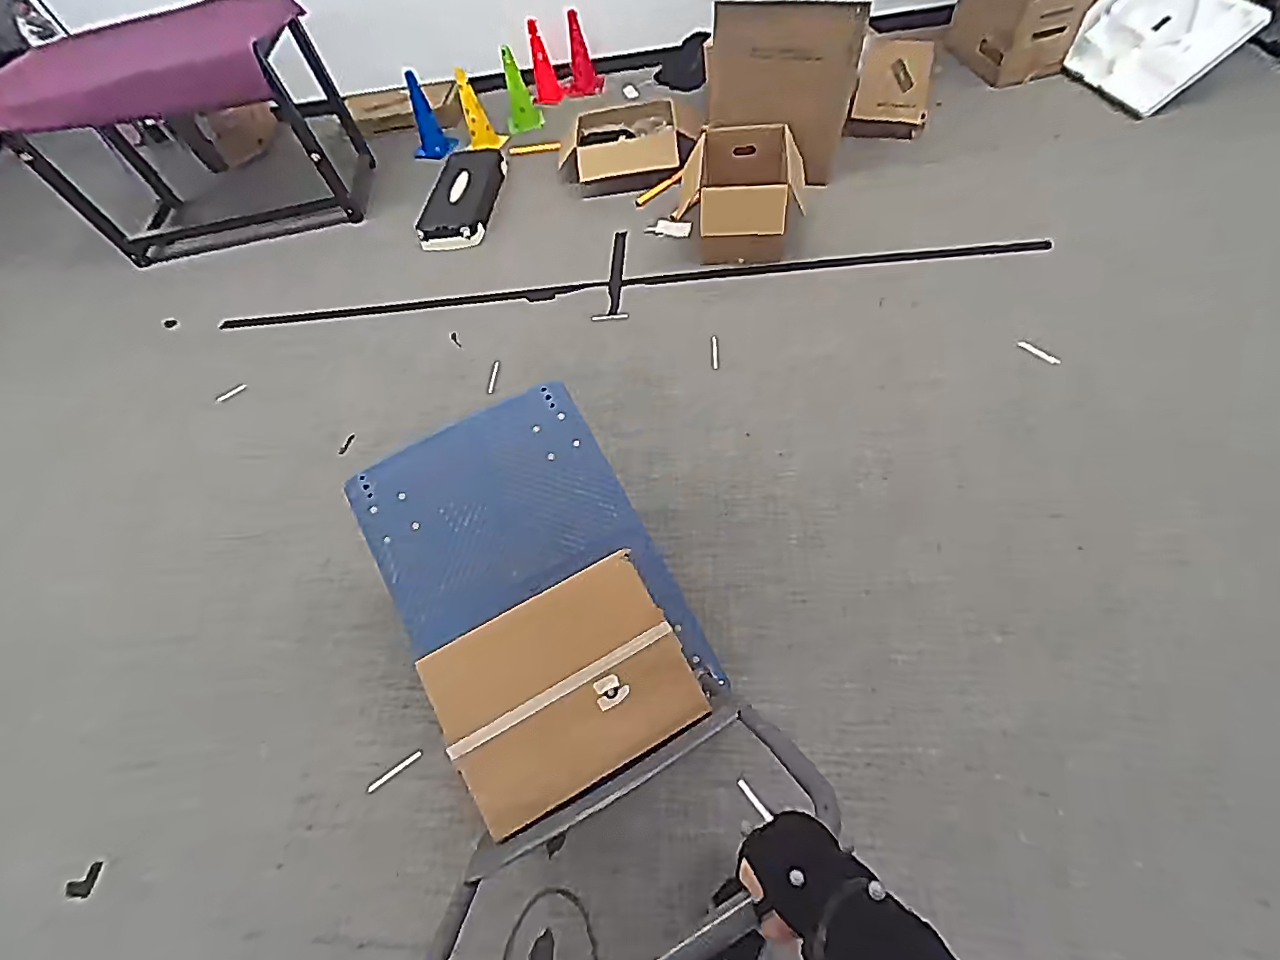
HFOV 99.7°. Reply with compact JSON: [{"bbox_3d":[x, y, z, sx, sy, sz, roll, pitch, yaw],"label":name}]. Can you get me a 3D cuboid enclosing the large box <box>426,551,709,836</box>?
[{"bbox_3d":[-0.133,0.391,1.070,0.408,0.320,0.320,-28,79,-11],"label":"large box"}]
